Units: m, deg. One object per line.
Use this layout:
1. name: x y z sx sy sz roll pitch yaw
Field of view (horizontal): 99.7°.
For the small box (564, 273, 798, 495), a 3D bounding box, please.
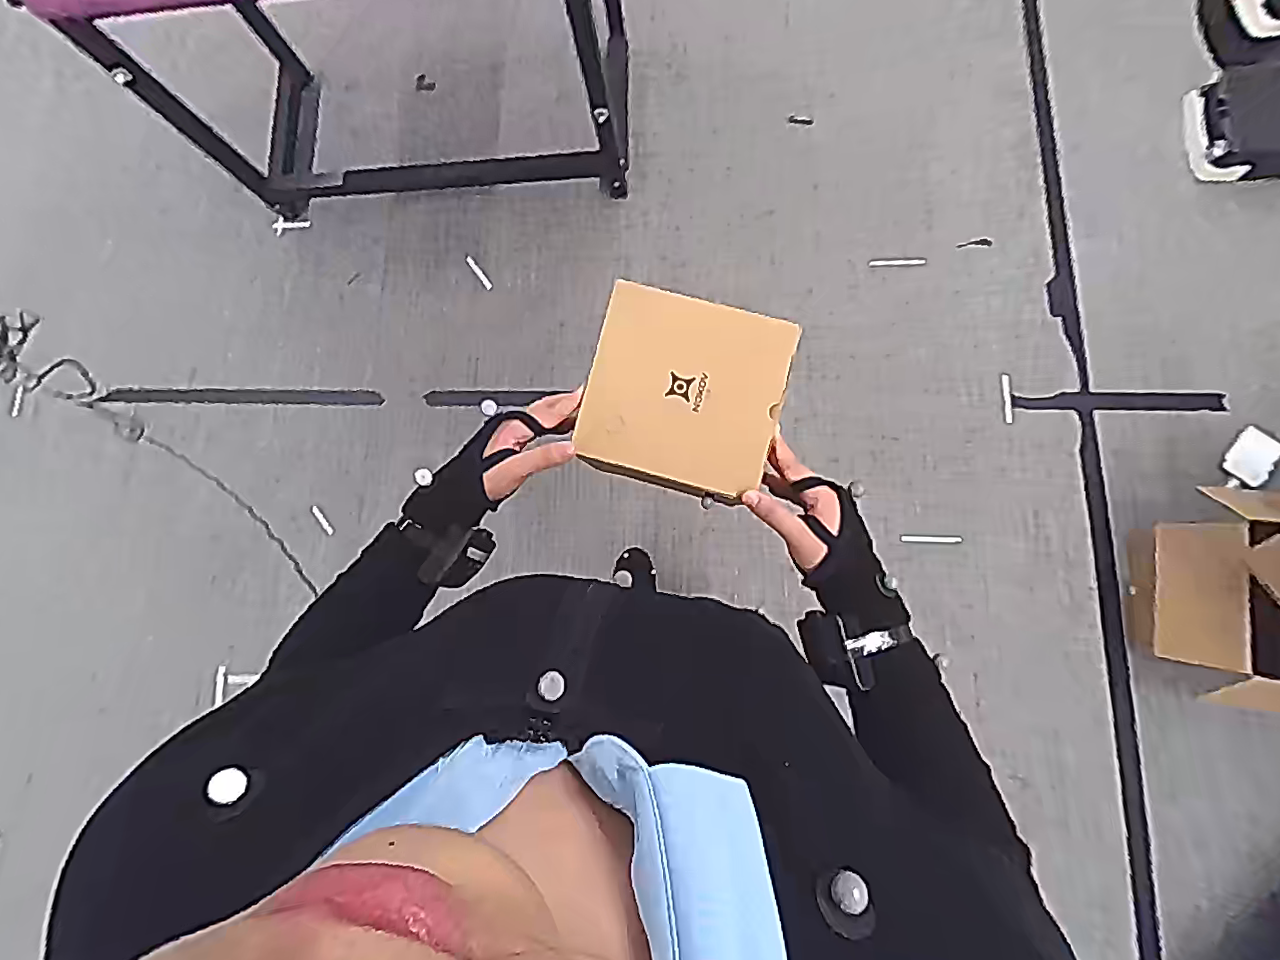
1. small box: 0.038 -0.082 0.556 0.179 0.176 0.168 15 87 2
